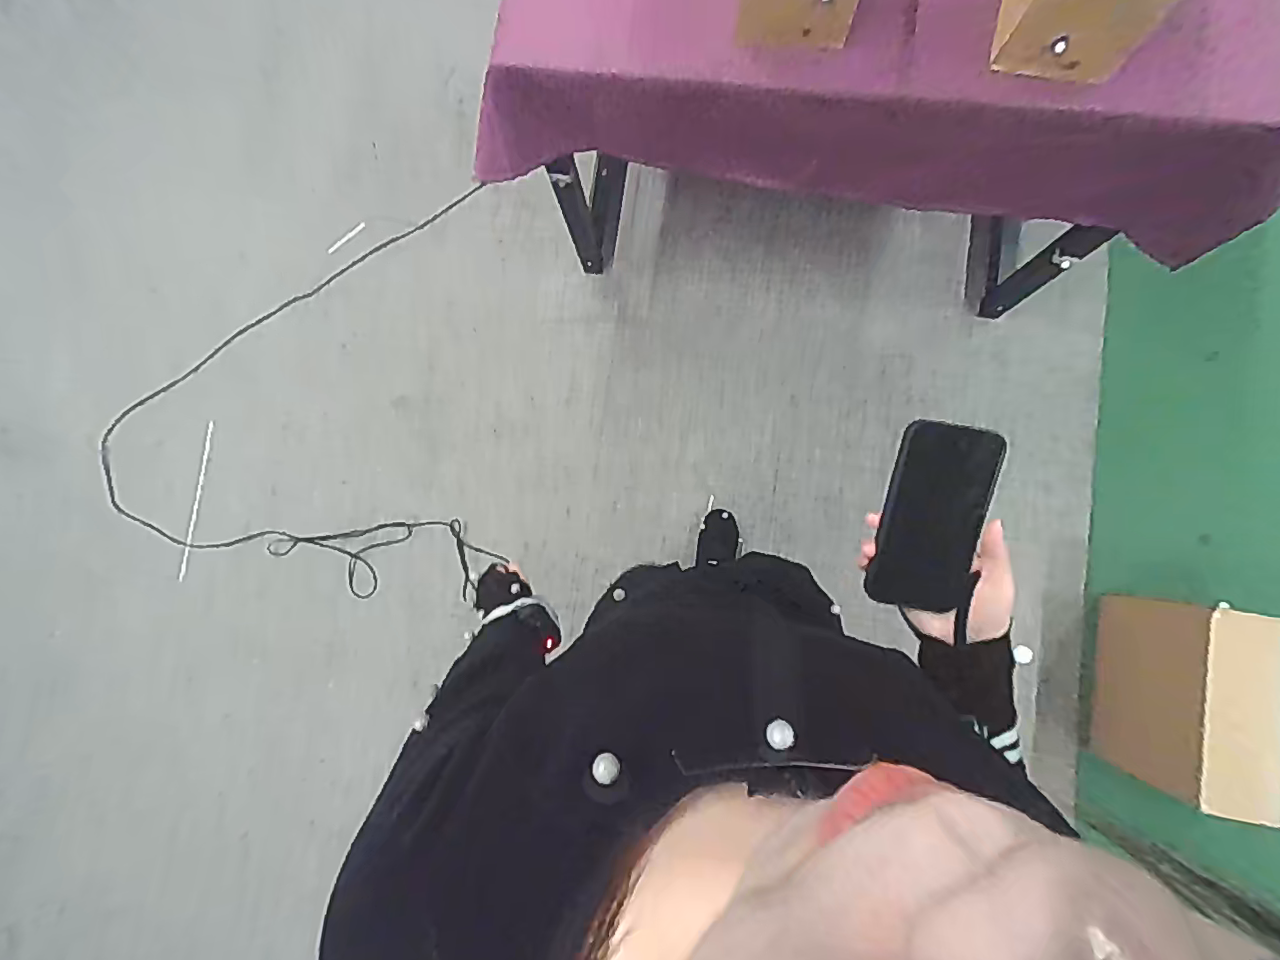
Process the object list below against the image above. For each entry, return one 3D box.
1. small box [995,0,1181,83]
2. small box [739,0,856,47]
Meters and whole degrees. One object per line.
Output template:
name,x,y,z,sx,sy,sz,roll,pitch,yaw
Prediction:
small box,0.618,-0.693,0.730,0.168,0.176,0.179,13,86,6
small box,0.238,-0.767,0.769,0.168,0.176,0.179,8,84,5
